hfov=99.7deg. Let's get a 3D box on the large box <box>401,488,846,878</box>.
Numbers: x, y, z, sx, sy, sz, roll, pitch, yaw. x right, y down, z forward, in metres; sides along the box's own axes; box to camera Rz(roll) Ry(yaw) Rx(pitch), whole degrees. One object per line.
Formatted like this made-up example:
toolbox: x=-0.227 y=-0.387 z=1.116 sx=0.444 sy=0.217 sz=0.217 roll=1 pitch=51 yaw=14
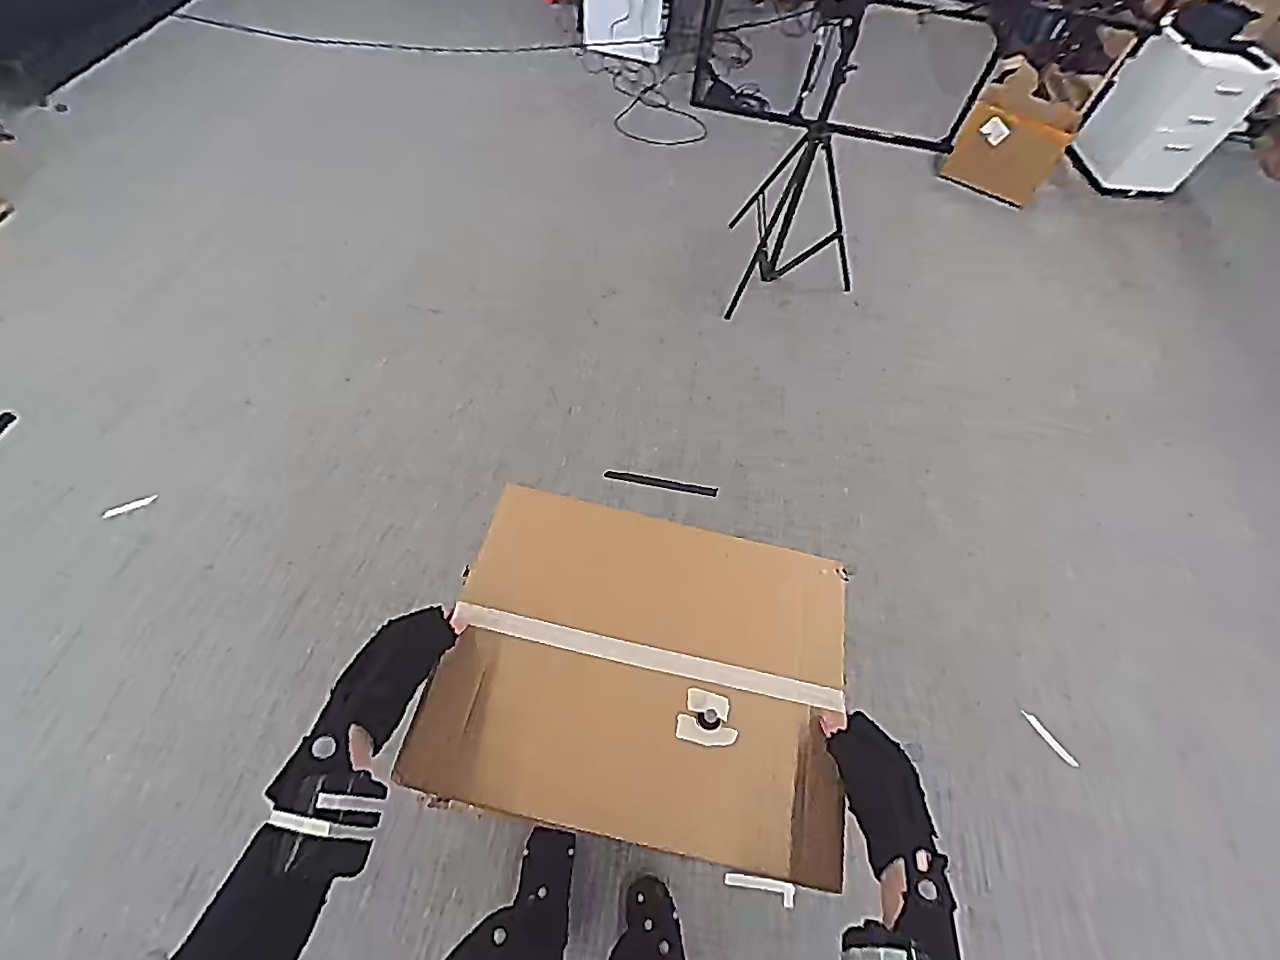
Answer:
large box: x=-0.006 y=0.250 z=0.669 sx=0.408 sy=0.320 sz=0.320 roll=13 pitch=60 yaw=1
